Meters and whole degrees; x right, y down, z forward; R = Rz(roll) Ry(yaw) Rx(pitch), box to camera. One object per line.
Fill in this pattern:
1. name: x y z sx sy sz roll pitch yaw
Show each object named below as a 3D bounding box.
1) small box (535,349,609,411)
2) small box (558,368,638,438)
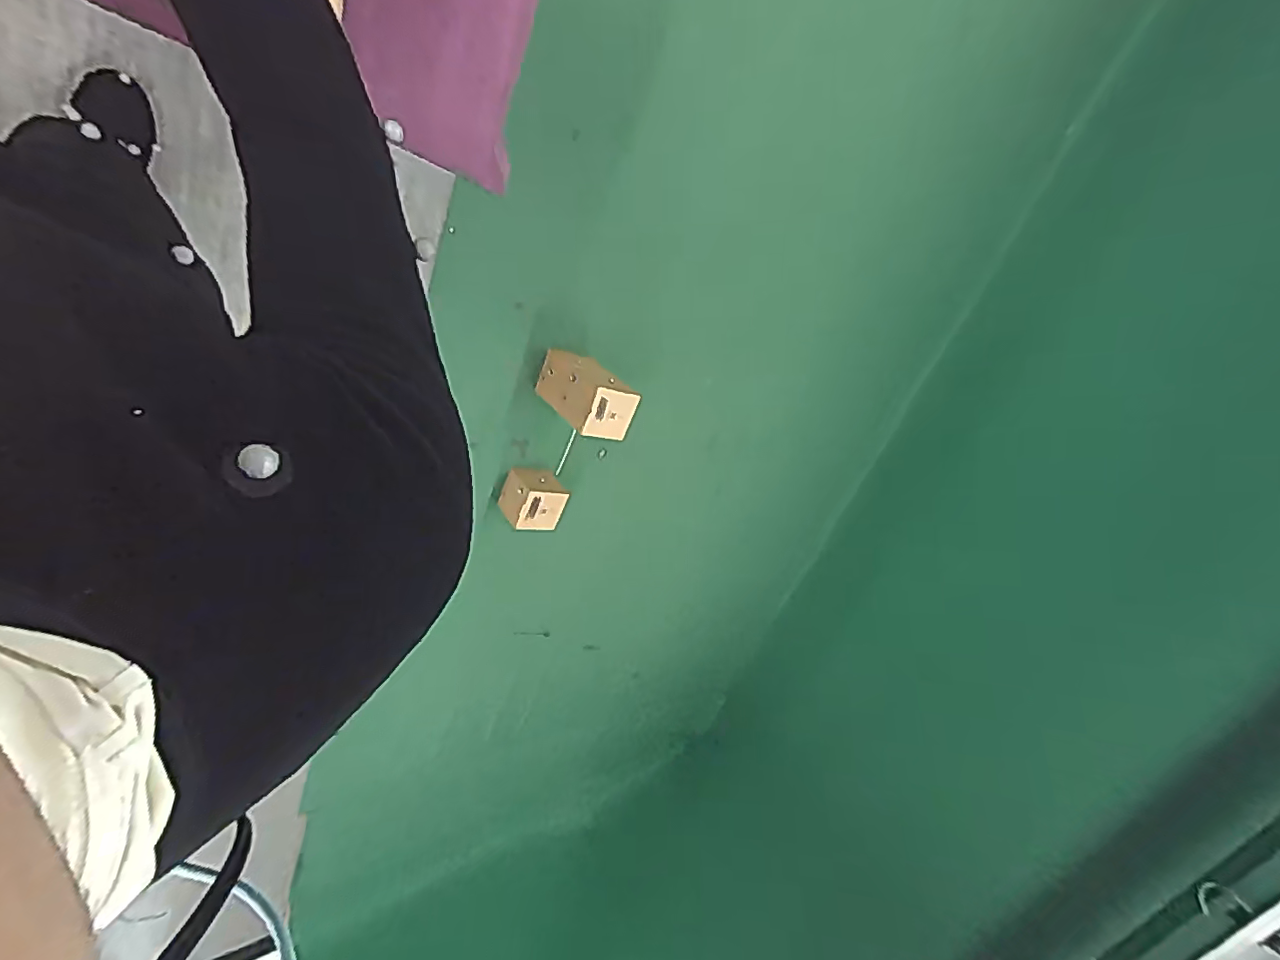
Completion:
1. small box: -0.236 -0.337 1.876 0.179 0.176 0.168 4 118 -43
2. small box: -0.143 -0.254 1.771 0.179 0.176 0.168 4 119 -44
